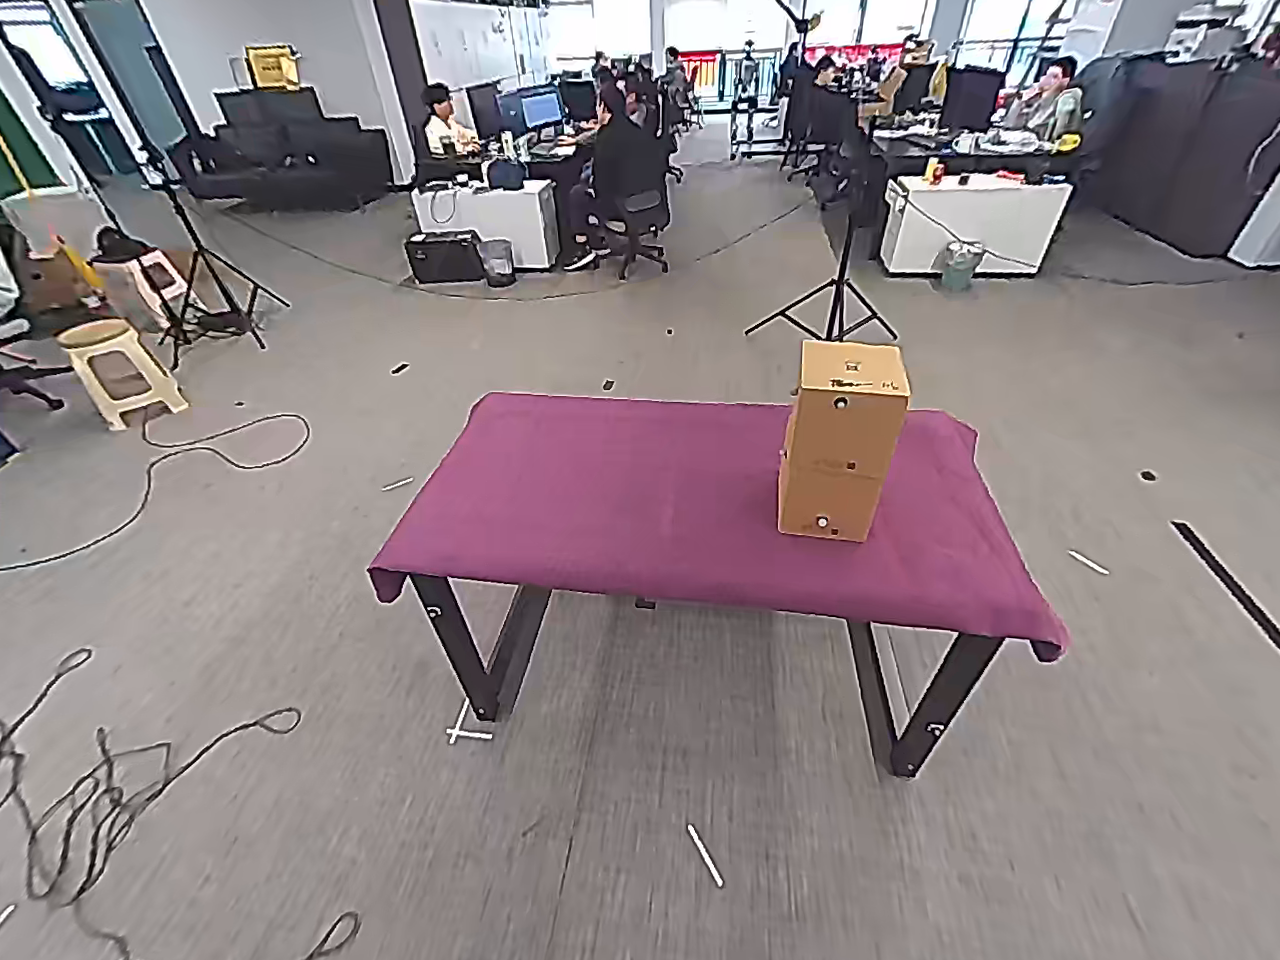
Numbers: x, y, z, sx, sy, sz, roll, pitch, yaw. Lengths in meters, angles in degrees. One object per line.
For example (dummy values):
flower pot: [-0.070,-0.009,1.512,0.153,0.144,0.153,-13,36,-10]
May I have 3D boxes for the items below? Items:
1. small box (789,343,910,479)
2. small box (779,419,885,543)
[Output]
small box: [0.359,-0.125,0.958,0.168,0.176,0.179,6,40,12]
small box: [0.367,-0.002,1.066,0.168,0.176,0.179,5,41,11]
